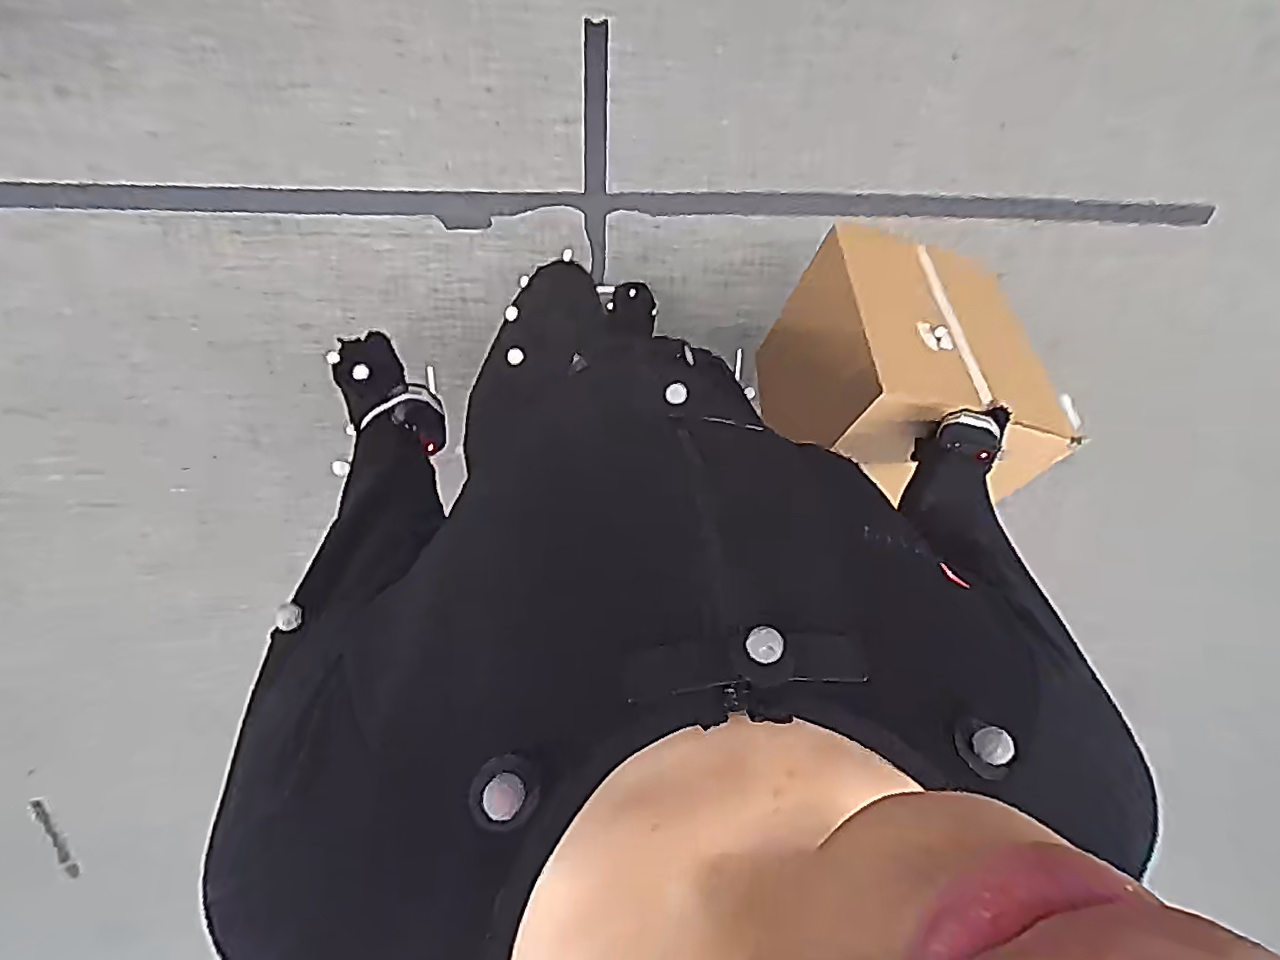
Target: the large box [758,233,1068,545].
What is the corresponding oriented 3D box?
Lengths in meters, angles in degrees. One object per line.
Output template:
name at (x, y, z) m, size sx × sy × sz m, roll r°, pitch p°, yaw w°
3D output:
large box at (0.425, -0.149, 0.957) m, size 0.320 × 0.408 × 0.320 m, roll 11°, pitch 145°, yaw -11°
